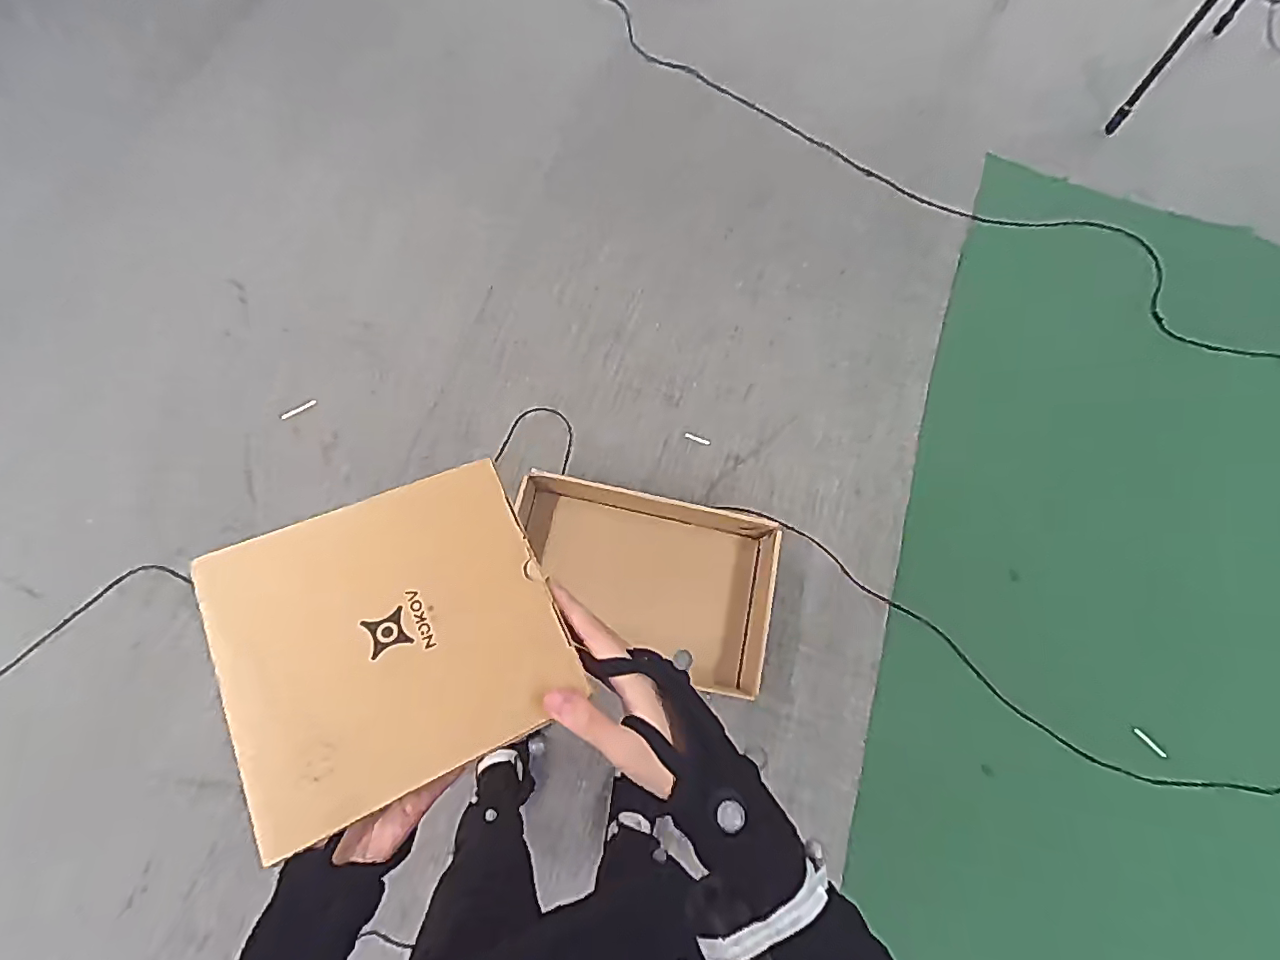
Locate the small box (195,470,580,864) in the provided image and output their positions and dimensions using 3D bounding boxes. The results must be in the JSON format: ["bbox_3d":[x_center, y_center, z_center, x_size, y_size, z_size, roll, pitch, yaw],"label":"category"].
[{"bbox_3d":[-0.157,0.123,0.383,0.179,0.176,0.168,-22,73,-20],"label":"small box"}]
